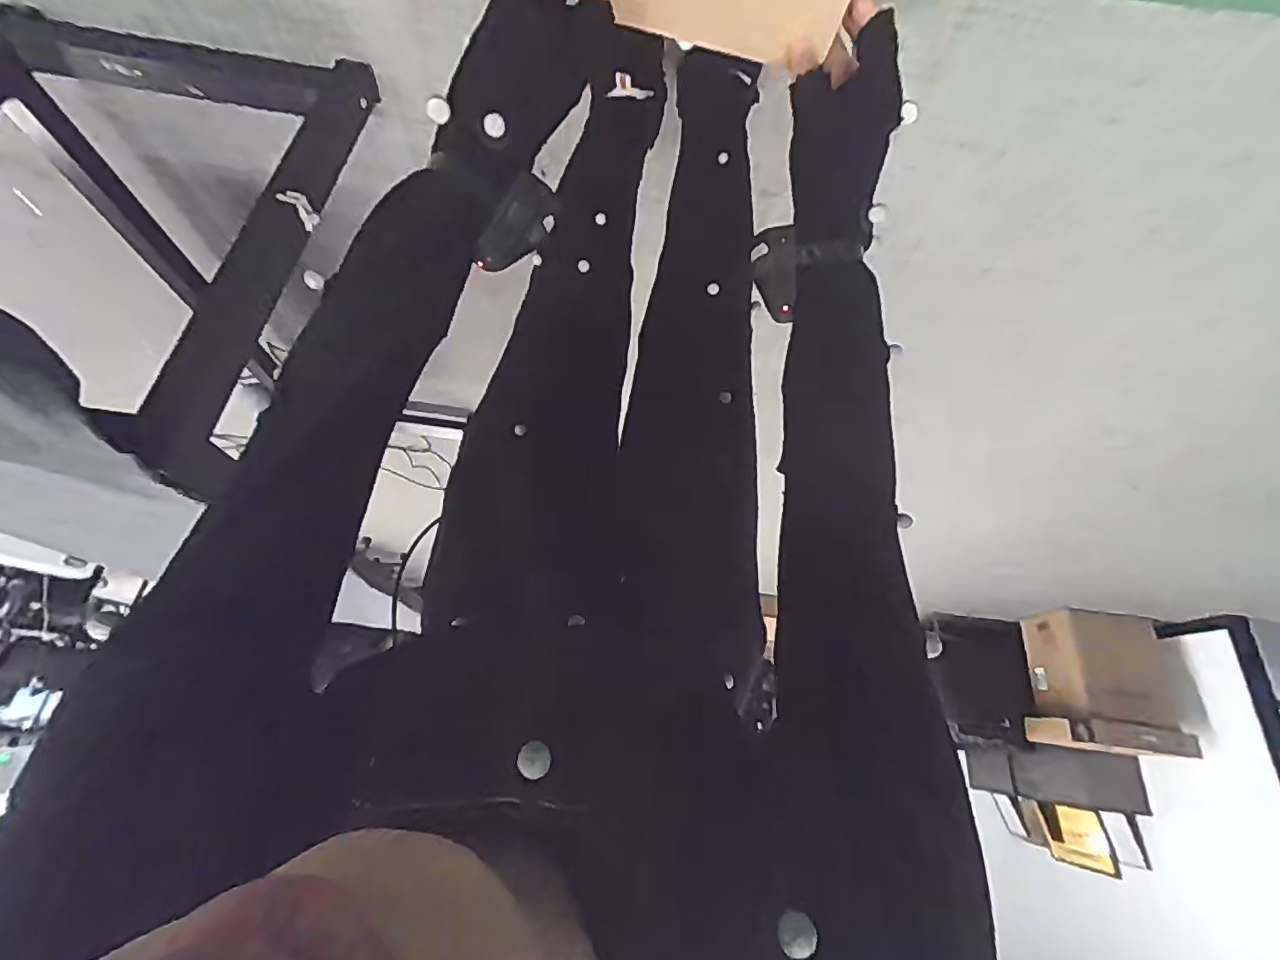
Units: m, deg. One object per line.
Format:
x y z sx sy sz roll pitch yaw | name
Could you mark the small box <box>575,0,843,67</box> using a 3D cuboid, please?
0.059 -0.413 0.343 0.179 0.176 0.168 7 149 -9 | small box
